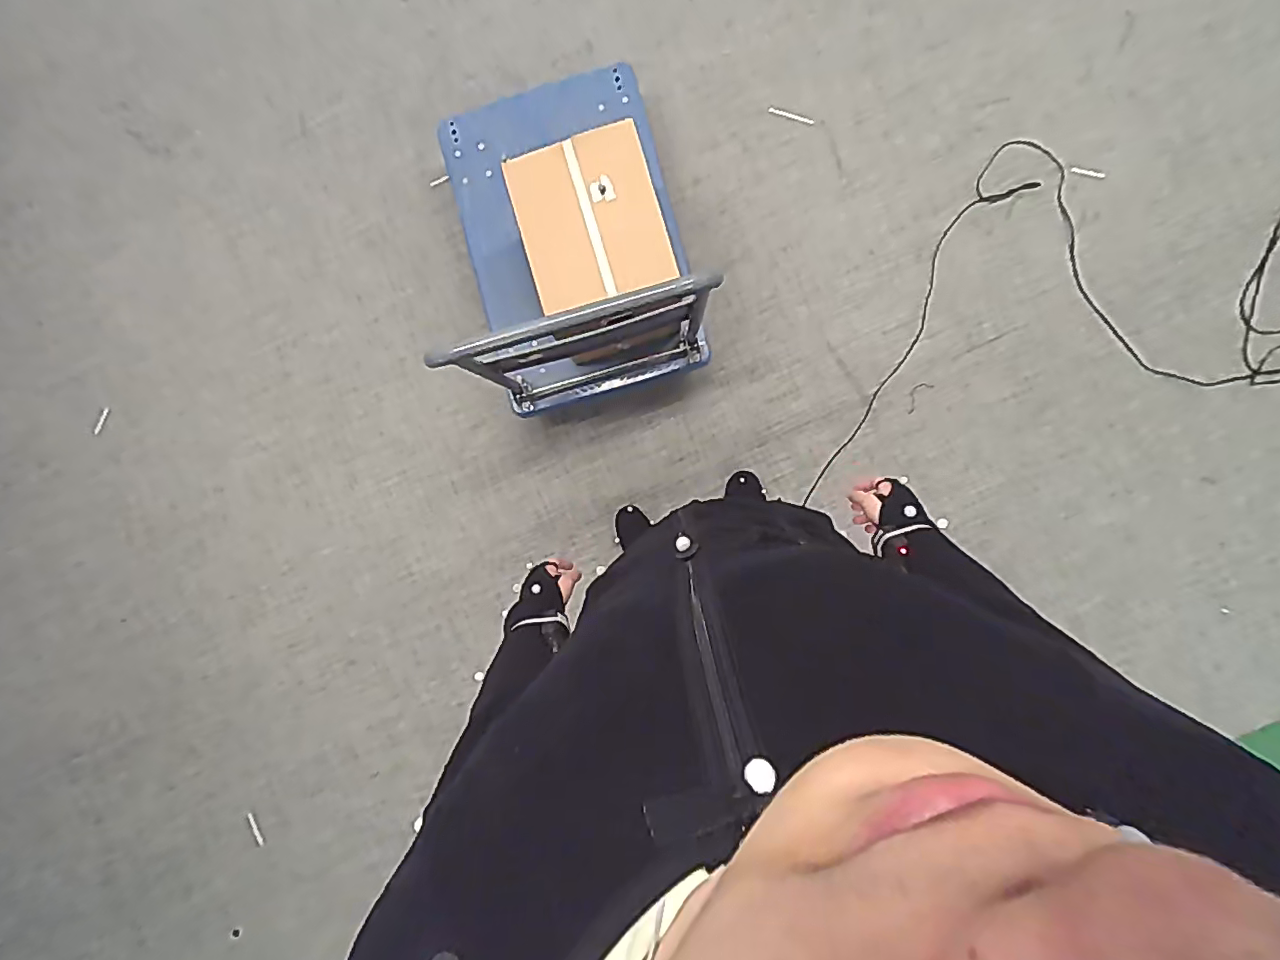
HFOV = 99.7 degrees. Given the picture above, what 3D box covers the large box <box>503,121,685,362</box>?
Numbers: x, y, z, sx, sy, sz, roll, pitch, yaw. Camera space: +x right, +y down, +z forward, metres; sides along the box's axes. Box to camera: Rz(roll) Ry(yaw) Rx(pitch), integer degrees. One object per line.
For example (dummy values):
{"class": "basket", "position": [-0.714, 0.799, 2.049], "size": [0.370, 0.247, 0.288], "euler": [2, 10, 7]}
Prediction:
{"class": "large box", "position": [-0.092, -0.555, 1.336], "size": [0.320, 0.320, 0.408], "euler": [-16, 88, 2]}
